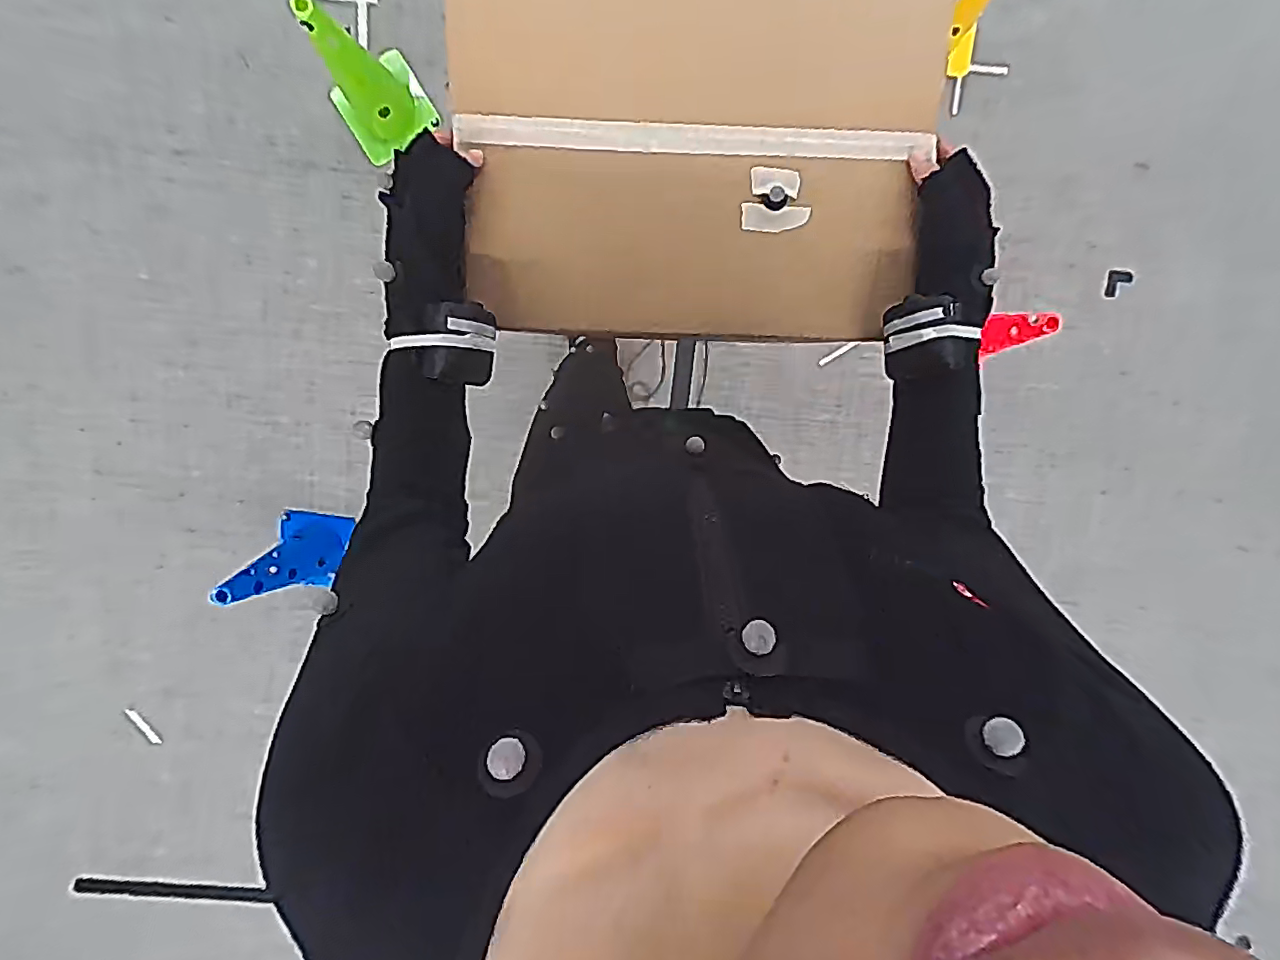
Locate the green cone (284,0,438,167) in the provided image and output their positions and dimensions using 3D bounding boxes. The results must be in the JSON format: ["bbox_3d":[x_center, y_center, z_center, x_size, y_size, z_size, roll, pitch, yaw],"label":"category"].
[{"bbox_3d":[-0.614,-0.869,1.139,0.202,0.368,0.200,-32,97,4],"label":"green cone"}]

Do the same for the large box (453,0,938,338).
[{"bbox_3d":[0.039,-0.325,0.606,0.408,0.320,0.320,1,104,-3],"label":"large box"}]

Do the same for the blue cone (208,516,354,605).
[{"bbox_3d":[-0.873,0.220,1.307,0.192,0.380,0.193,8,98,-2],"label":"blue cone"}]

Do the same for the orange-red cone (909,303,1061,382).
[{"bbox_3d":[0.825,-0.344,1.266,0.198,0.360,0.199,2,97,-3],"label":"orange-red cone"}]
